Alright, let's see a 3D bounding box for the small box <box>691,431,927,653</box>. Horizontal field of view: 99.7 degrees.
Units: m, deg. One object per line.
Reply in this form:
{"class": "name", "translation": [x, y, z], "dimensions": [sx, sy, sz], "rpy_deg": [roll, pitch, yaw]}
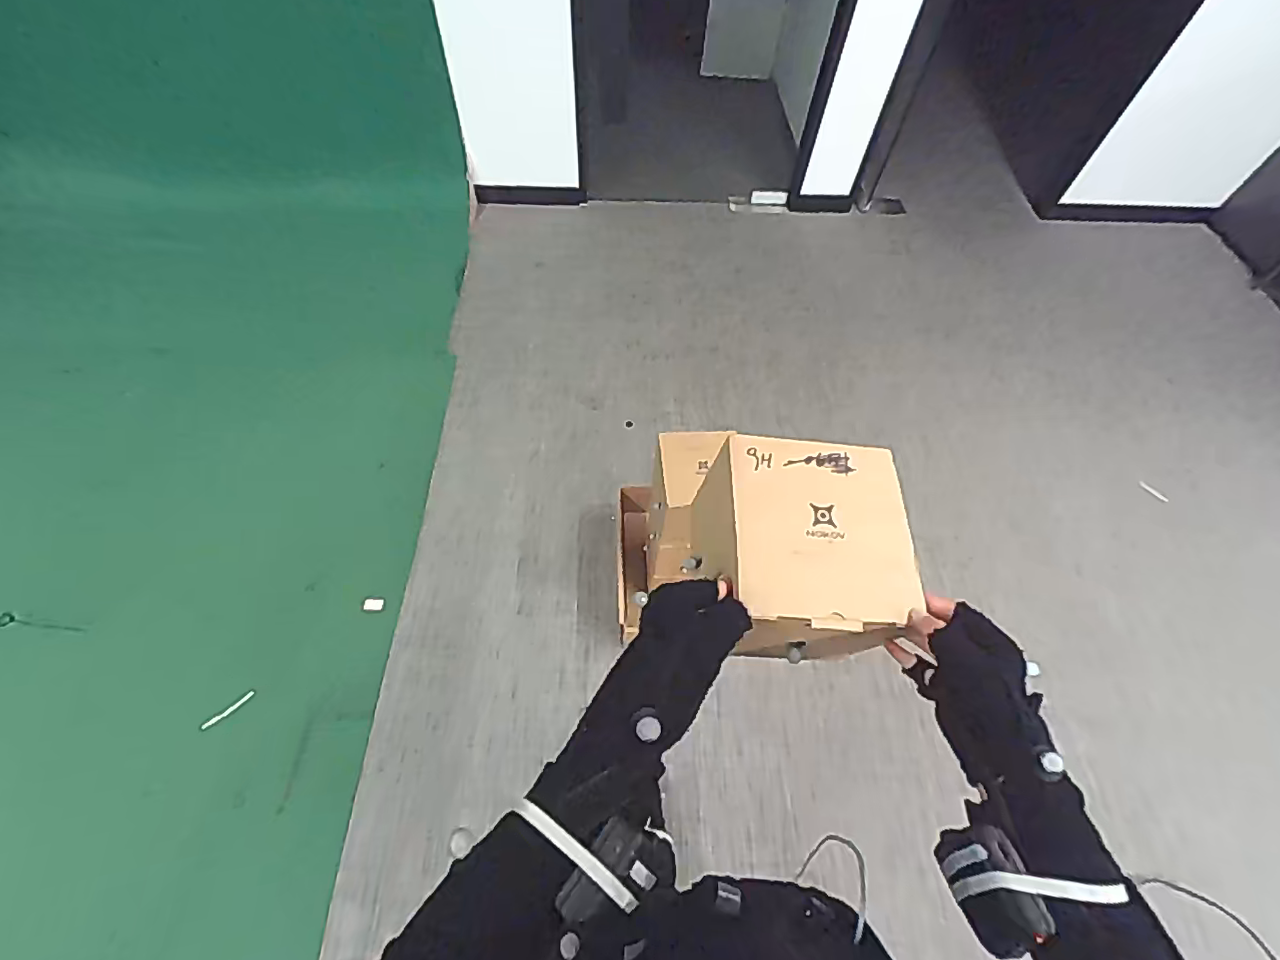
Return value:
{"class": "small box", "translation": [0.150, 0.073, 0.546], "dimensions": [0.168, 0.176, 0.179], "rpy_deg": [6, 64, -7]}

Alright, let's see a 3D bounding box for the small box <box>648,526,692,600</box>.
{"class": "small box", "translation": [0.109, 0.198, 1.392], "dimensions": [0.168, 0.176, 0.179], "rpy_deg": [0, 58, -3]}

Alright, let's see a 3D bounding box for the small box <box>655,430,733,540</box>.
{"class": "small box", "translation": [0.124, 0.016, 1.121], "dimensions": [0.168, 0.176, 0.179], "rpy_deg": [-1, 58, -6]}

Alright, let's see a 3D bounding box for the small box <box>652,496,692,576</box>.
{"class": "small box", "translation": [0.118, 0.109, 1.256], "dimensions": [0.168, 0.176, 0.179], "rpy_deg": [0, 58, -4]}
